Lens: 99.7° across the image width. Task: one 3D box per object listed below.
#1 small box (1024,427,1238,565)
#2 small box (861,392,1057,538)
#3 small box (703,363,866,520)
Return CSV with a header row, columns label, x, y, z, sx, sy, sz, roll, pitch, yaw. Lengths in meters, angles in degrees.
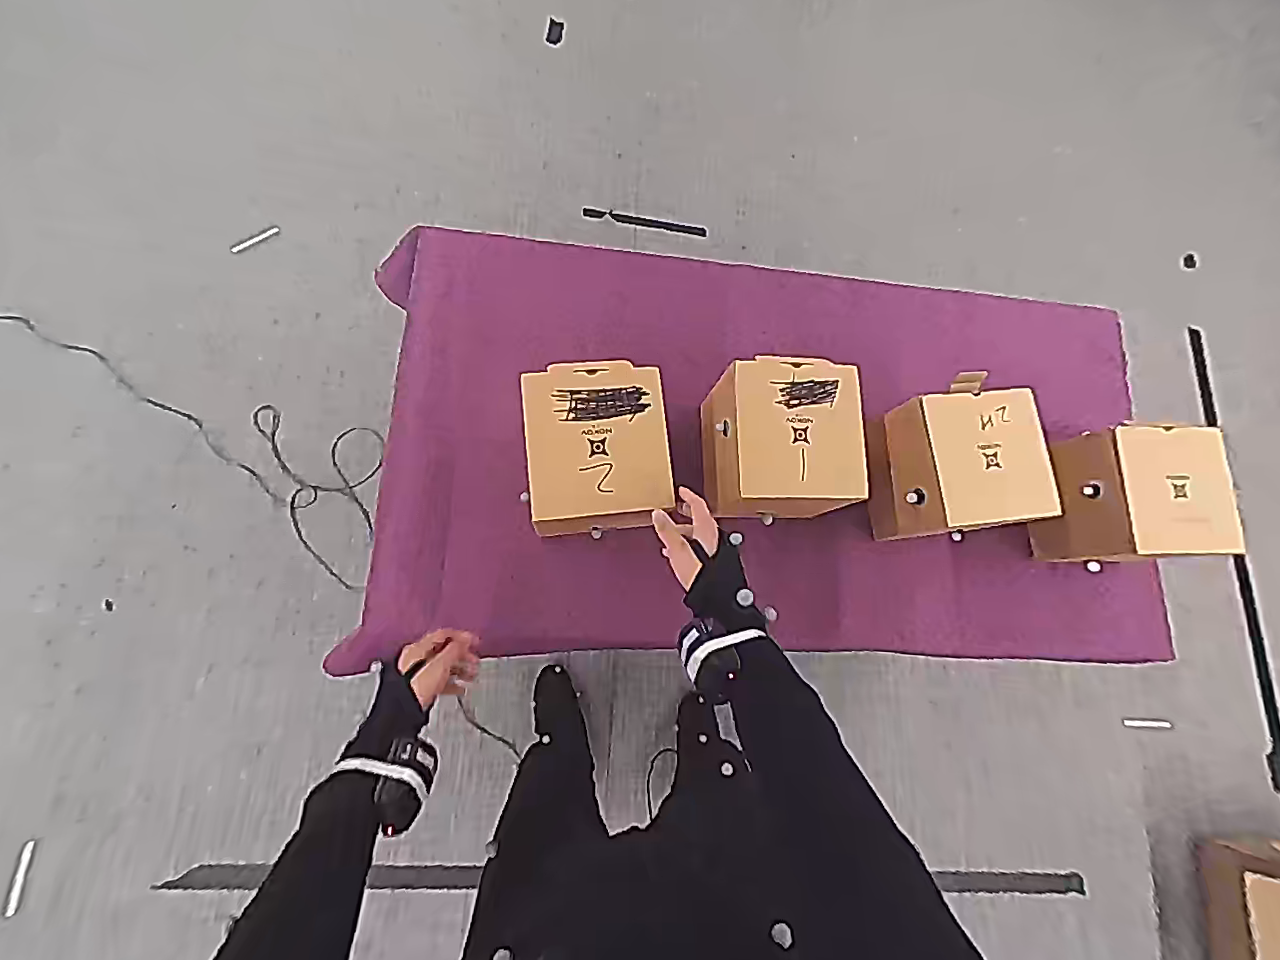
label,x,y,z,sx,sy,sz,roll,pitch,yaw
small box,0.704,0.031,0.805,0.168,0.176,0.179,1,77,-7
small box,0.437,-0.012,0.776,0.168,0.176,0.179,-5,78,-9
small box,0.186,-0.044,0.749,0.168,0.176,0.179,1,78,-8
